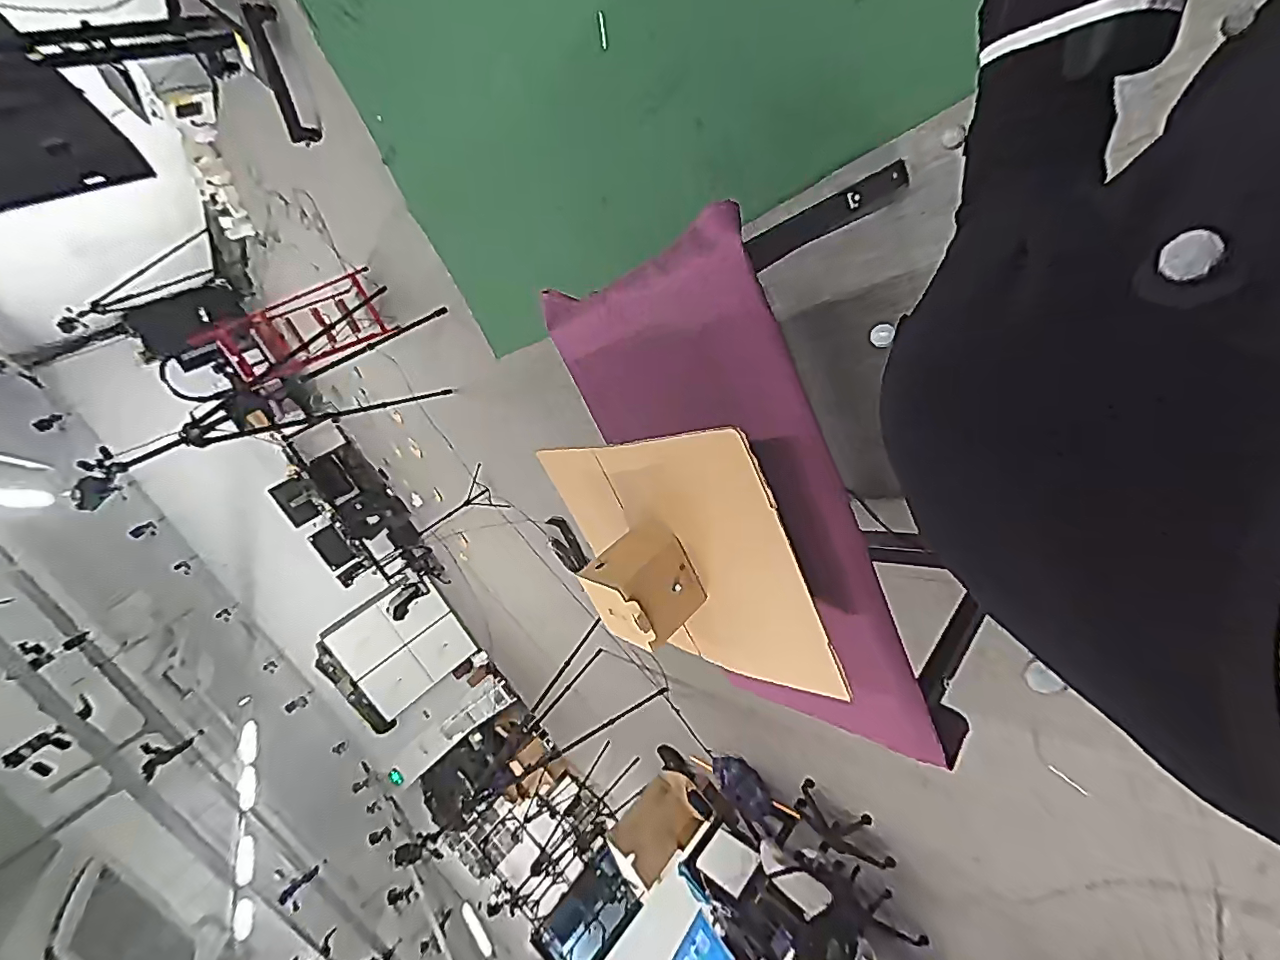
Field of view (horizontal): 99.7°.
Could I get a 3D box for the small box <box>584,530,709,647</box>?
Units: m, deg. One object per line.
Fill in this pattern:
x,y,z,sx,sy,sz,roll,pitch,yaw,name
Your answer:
0.016,0.223,1.167,0.179,0.176,0.168,2,124,54,small box
